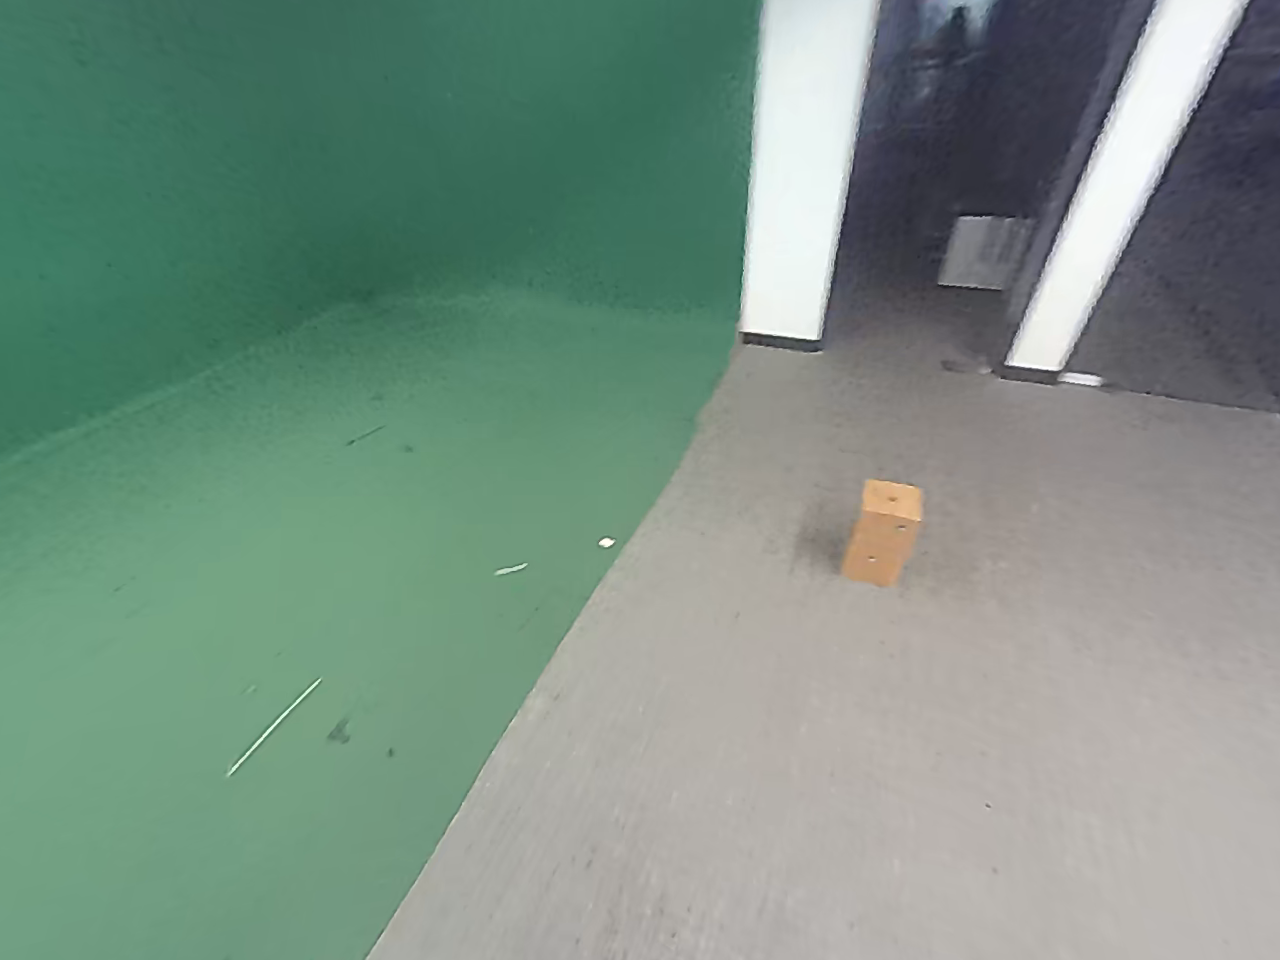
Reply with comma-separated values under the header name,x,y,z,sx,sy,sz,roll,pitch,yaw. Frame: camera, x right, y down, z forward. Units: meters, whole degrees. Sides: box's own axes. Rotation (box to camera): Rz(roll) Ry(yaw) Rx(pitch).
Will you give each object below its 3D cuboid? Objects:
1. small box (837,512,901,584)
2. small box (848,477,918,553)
name,x,y,z,sx,sy,sz,roll,pitch,yaw
small box,0.806,0.242,1.903,0.179,0.176,0.168,11,43,18
small box,0.804,0.119,1.792,0.179,0.176,0.168,11,42,18
